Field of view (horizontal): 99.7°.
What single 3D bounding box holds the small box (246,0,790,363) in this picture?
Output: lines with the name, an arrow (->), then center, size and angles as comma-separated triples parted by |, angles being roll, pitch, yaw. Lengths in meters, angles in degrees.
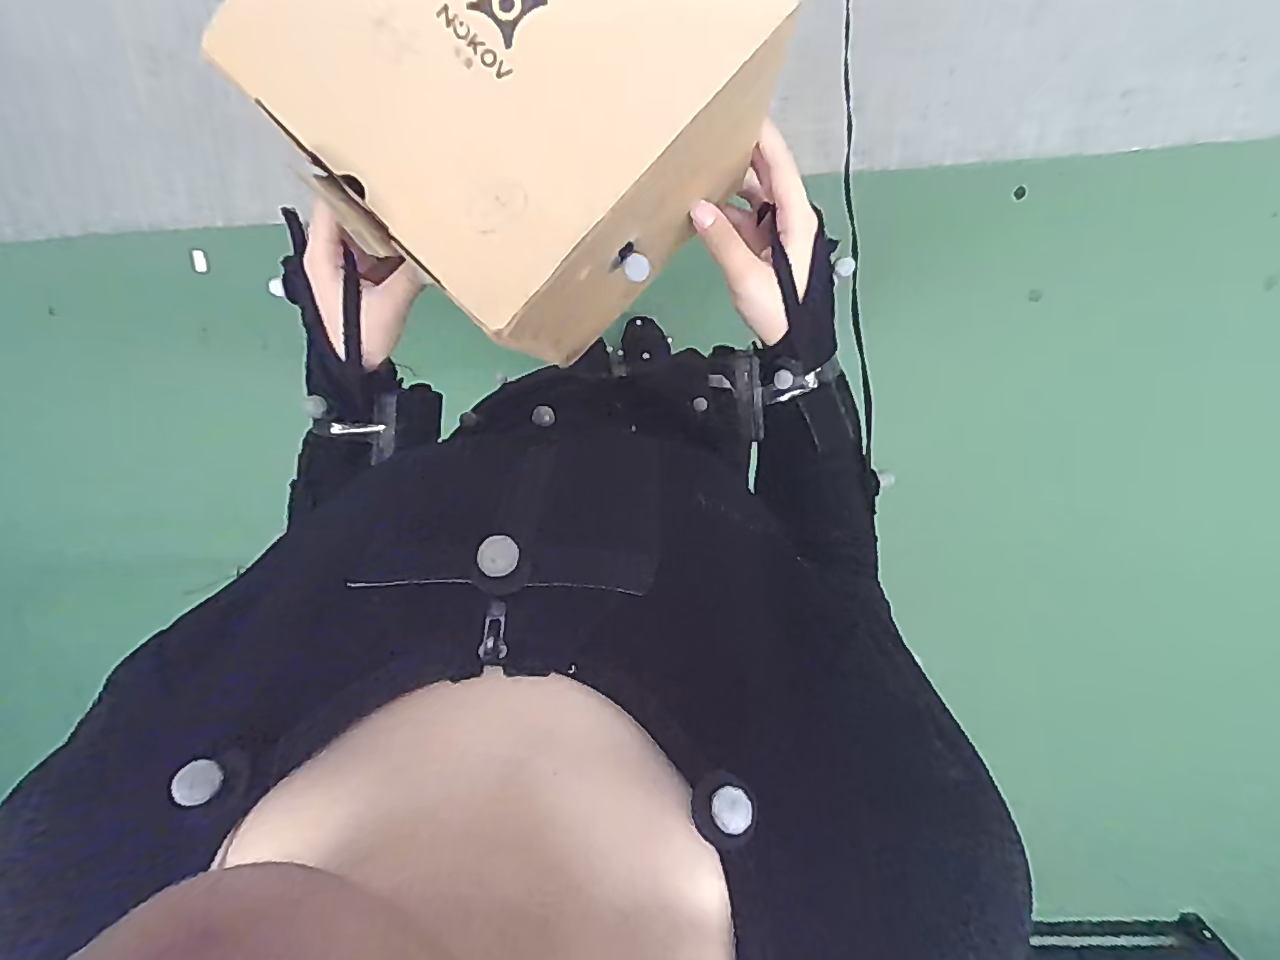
small box -> -0.049, -0.184, 0.302 | 0.168, 0.176, 0.179 | 44, 98, -4
